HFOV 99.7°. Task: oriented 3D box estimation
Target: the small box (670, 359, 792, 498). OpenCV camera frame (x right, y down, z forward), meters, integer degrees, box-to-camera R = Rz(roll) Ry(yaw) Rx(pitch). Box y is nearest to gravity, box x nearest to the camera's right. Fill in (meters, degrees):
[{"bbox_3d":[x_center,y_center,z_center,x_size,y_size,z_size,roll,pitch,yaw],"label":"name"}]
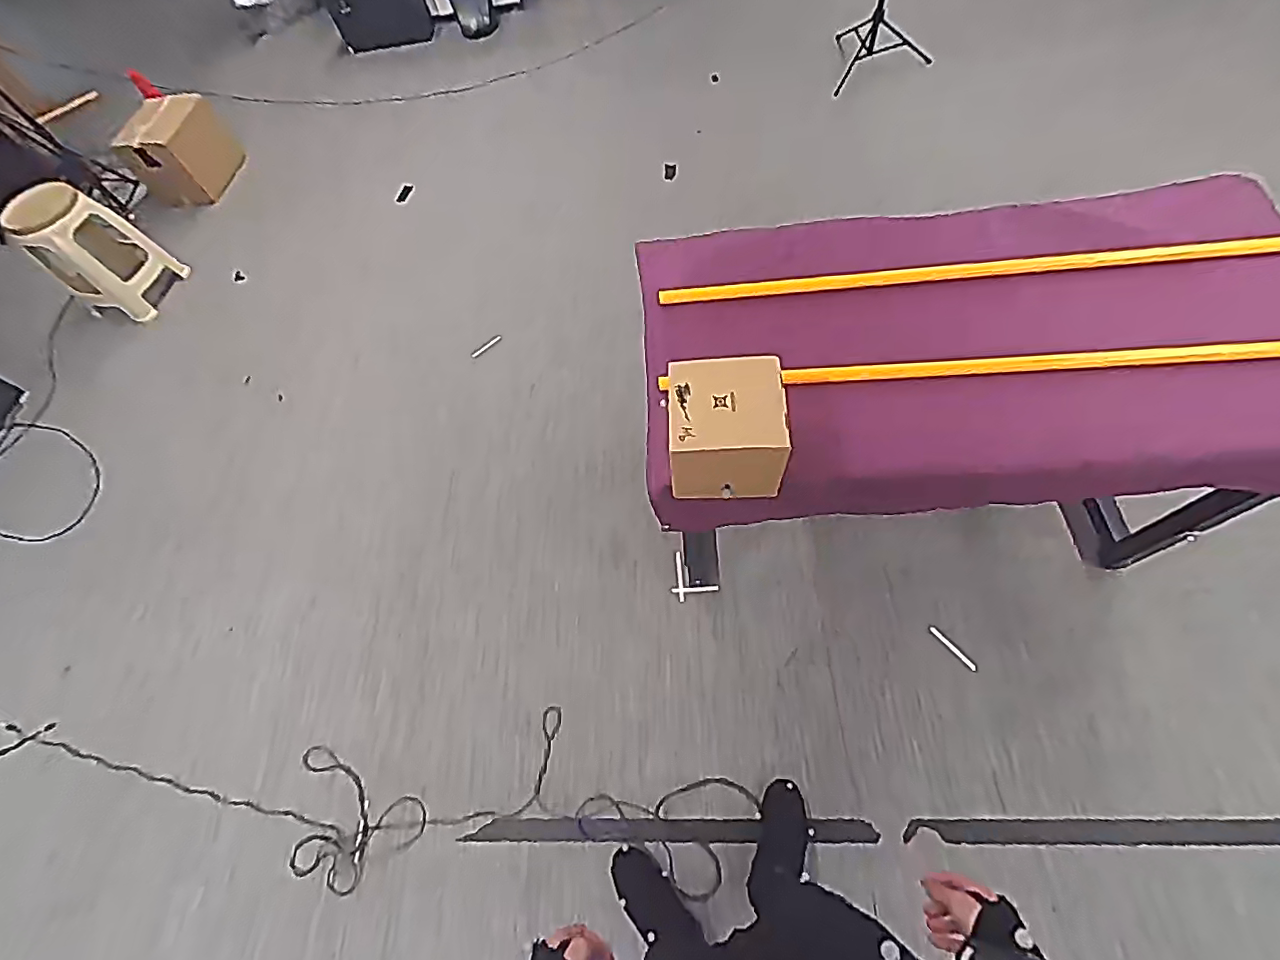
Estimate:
[{"bbox_3d":[0.138,-0.078,0.878,0.179,0.176,0.168,-1,63,5],"label":"small box"}]
